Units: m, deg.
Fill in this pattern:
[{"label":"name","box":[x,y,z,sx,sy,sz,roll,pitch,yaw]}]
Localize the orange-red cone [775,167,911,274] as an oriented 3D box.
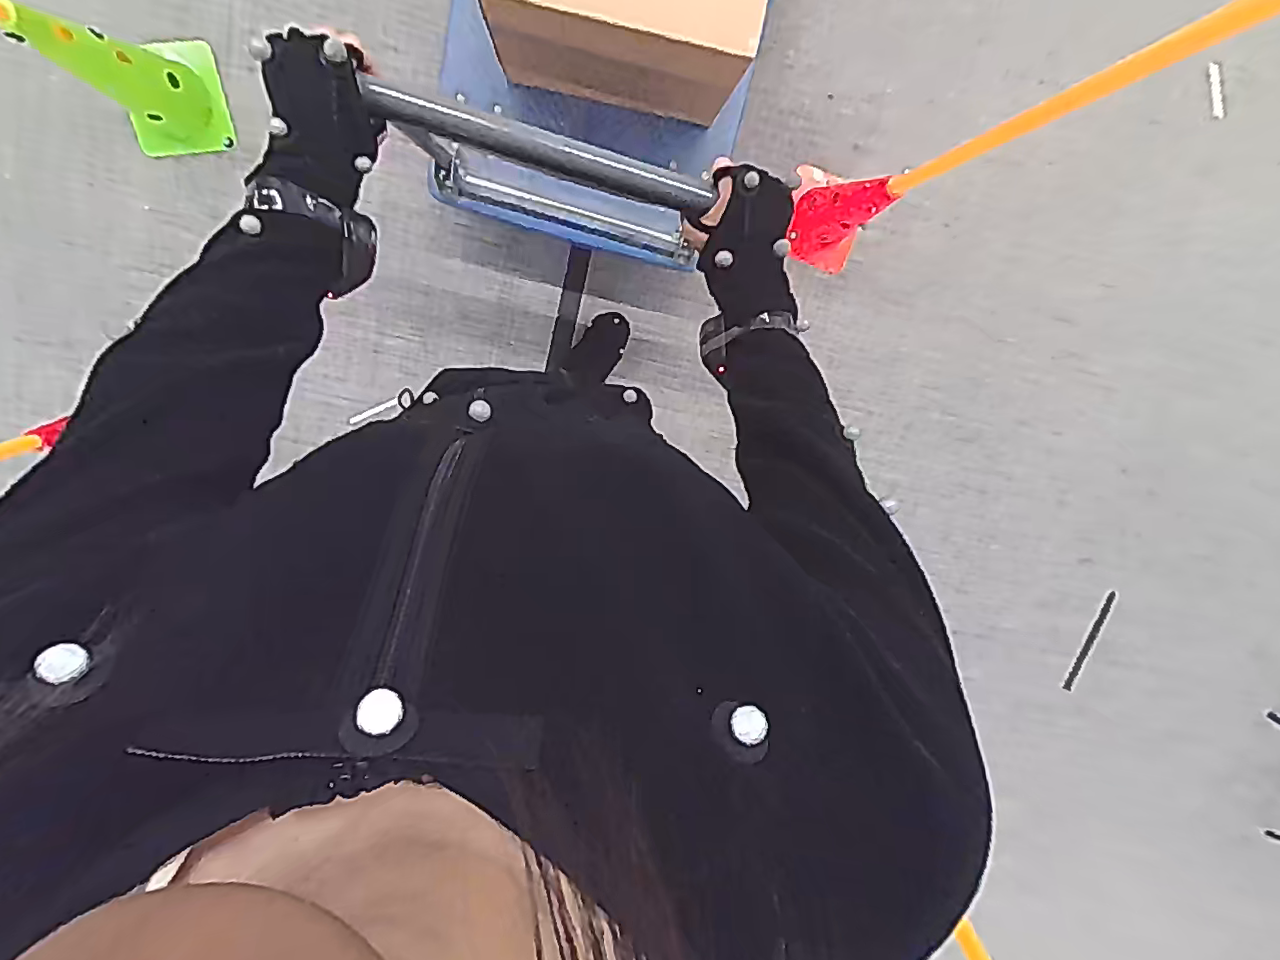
[{"label":"orange-red cone","box":[0.461,-0.575,1.147,0.199,0.360,0.198,18,105,-11]}]
